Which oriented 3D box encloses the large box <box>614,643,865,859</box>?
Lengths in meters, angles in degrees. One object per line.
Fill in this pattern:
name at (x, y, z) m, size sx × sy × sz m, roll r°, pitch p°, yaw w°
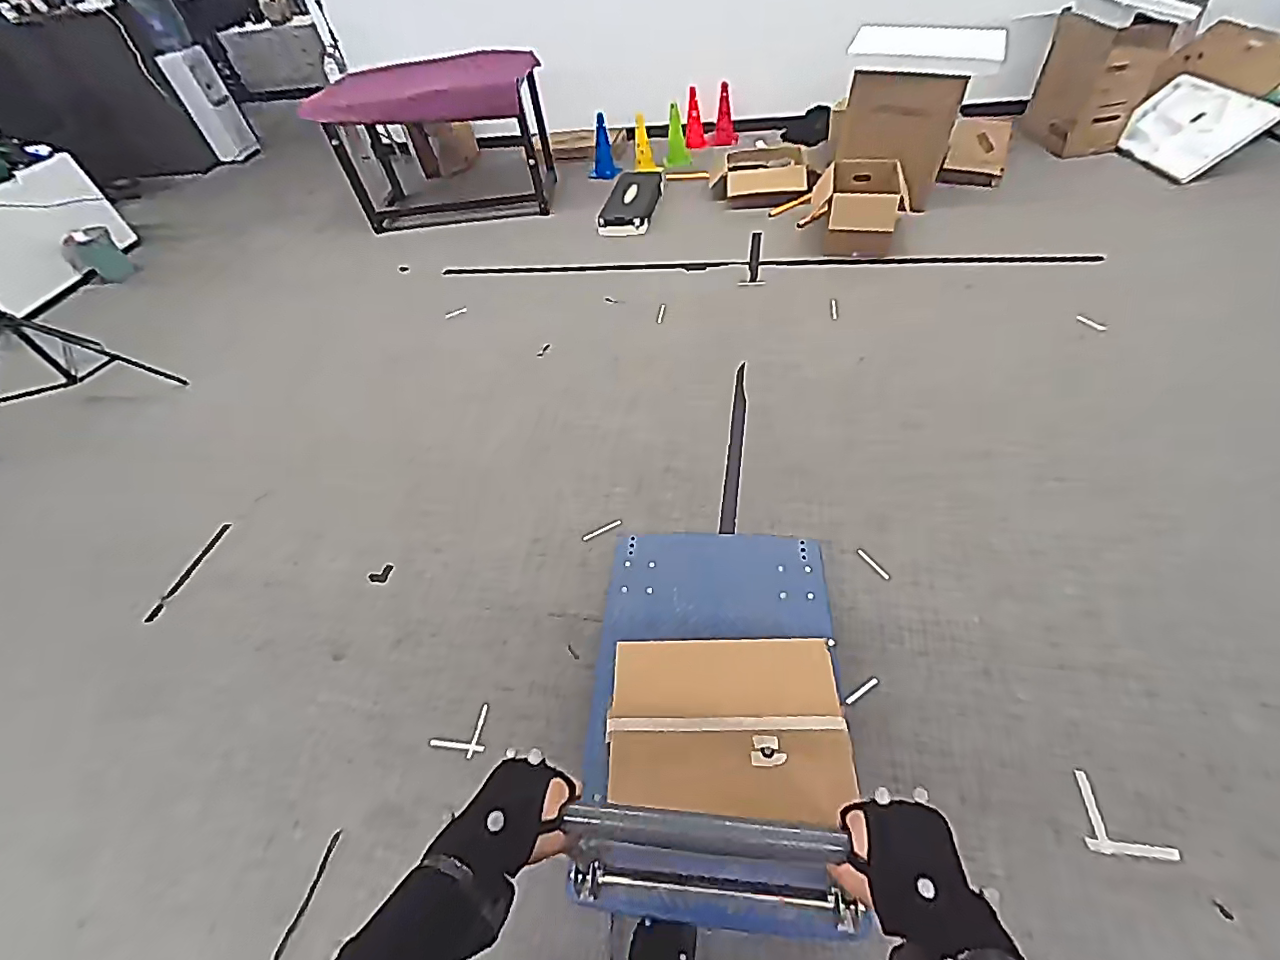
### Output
large box at (0.167, 0.534, 1.059) m, size 0.408 × 0.320 × 0.320 m, roll -2°, pitch 49°, yaw 5°
